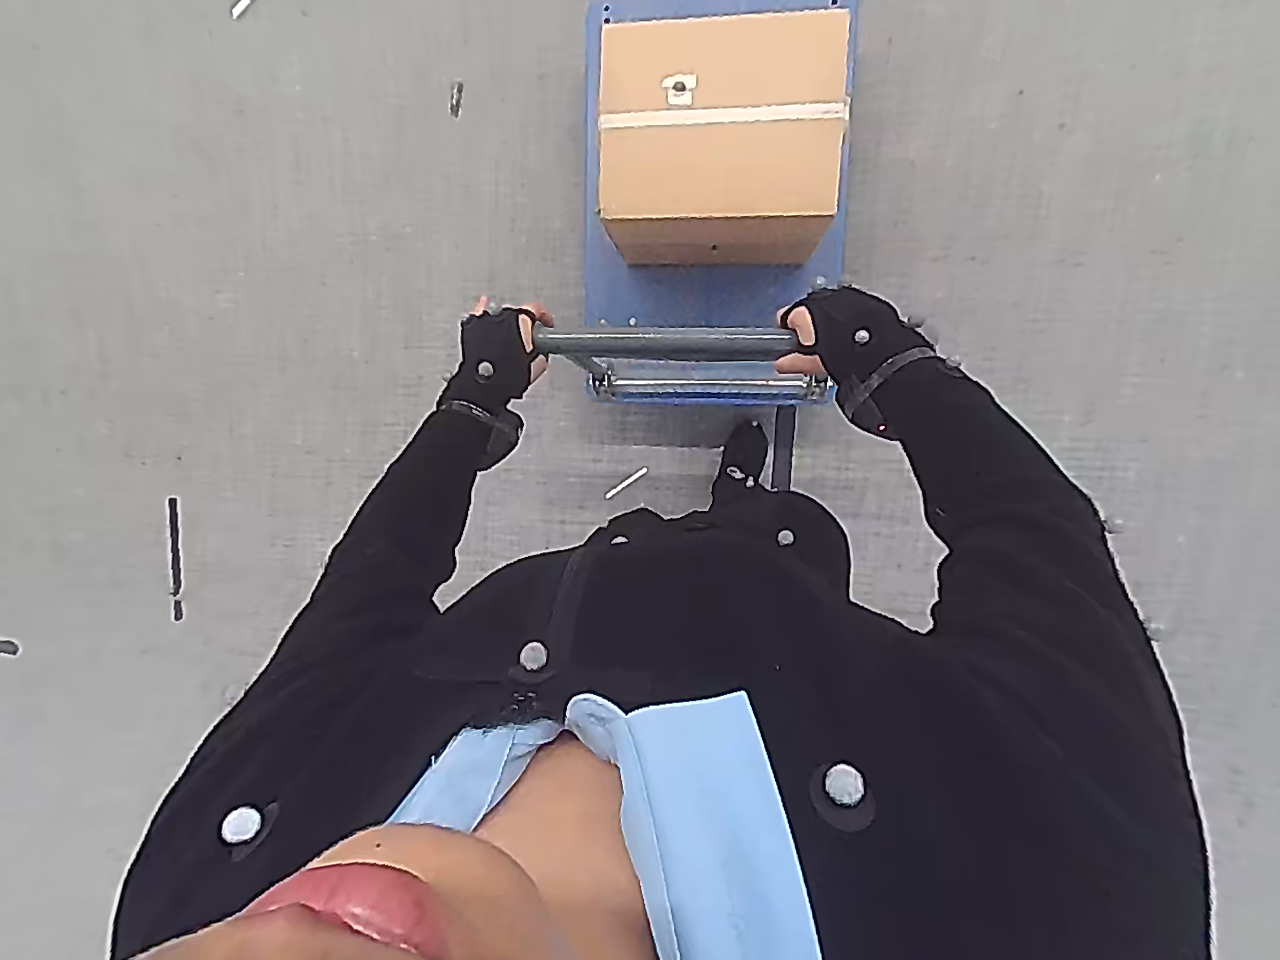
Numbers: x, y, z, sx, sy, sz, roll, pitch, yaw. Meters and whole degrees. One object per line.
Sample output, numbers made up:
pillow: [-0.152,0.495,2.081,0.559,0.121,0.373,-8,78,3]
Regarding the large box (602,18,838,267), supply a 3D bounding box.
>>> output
large box: [0.153,-0.625,1.073,0.408,0.320,0.320,2,96,8]
